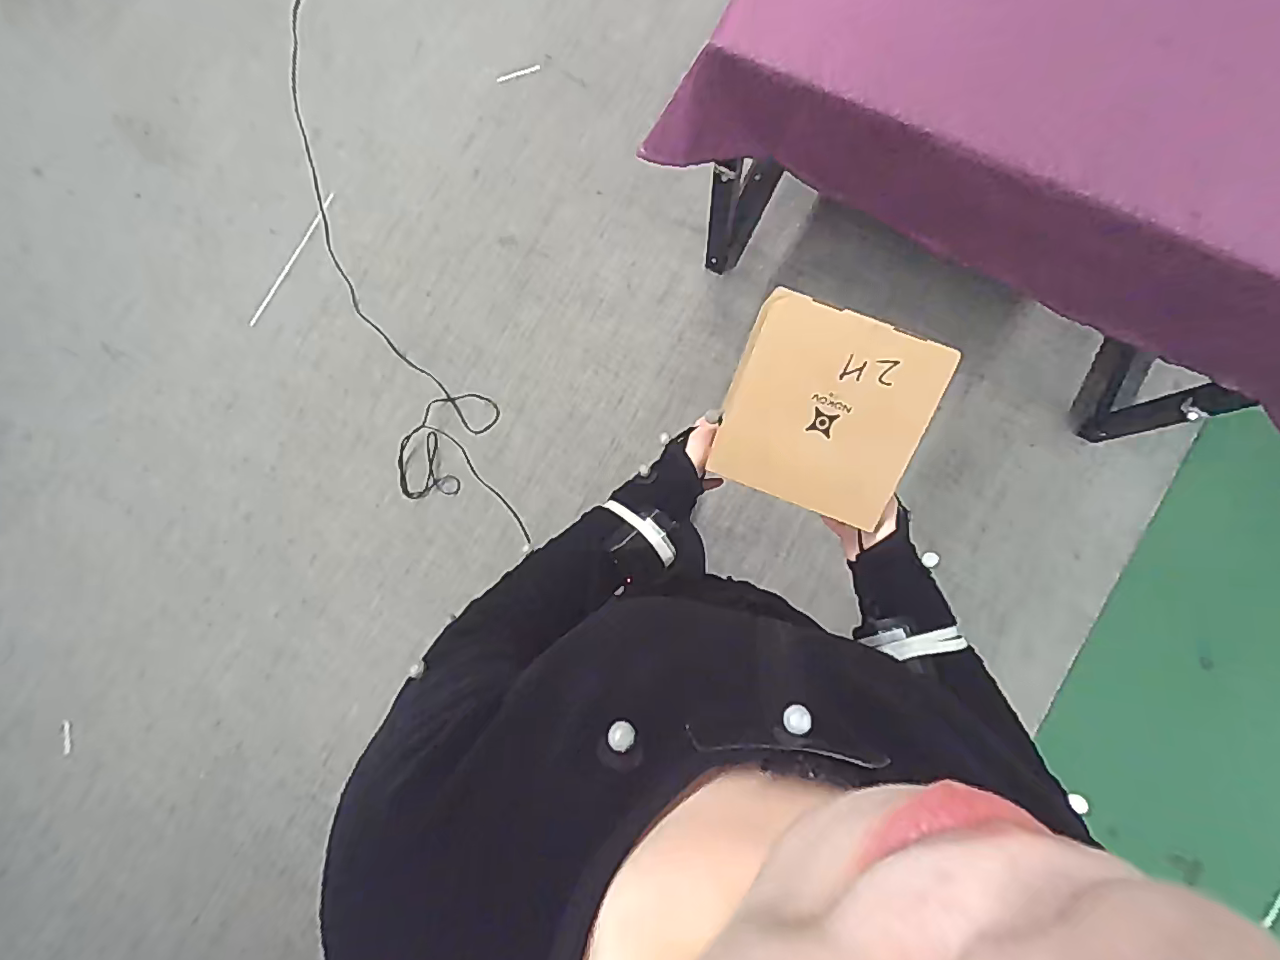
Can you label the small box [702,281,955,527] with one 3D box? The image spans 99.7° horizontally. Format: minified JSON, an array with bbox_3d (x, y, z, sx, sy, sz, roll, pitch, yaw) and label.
[{"bbox_3d":[0.174,-0.079,0.556,0.168,0.176,0.179,21,104,3],"label":"small box"}]
